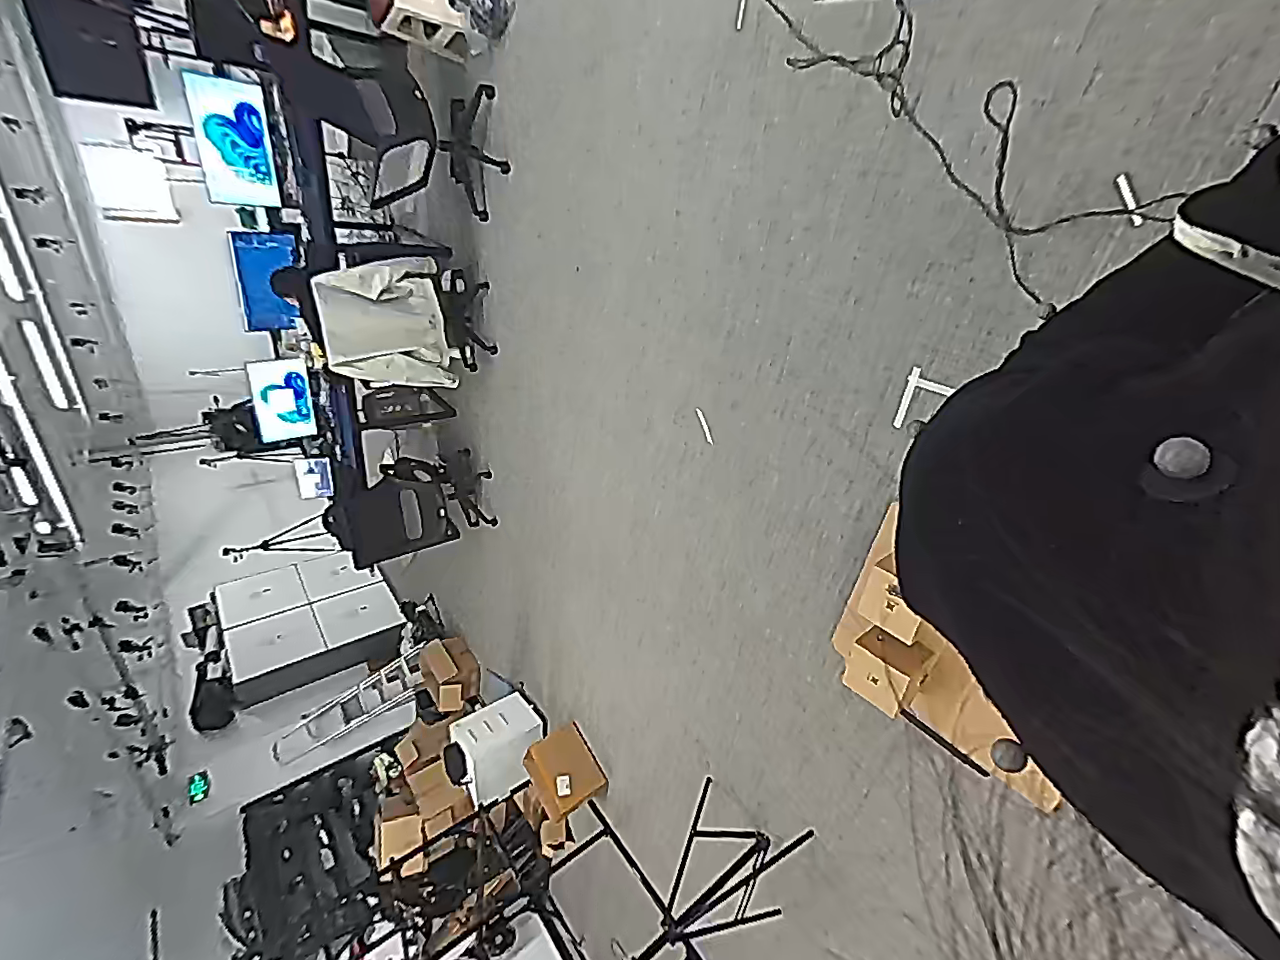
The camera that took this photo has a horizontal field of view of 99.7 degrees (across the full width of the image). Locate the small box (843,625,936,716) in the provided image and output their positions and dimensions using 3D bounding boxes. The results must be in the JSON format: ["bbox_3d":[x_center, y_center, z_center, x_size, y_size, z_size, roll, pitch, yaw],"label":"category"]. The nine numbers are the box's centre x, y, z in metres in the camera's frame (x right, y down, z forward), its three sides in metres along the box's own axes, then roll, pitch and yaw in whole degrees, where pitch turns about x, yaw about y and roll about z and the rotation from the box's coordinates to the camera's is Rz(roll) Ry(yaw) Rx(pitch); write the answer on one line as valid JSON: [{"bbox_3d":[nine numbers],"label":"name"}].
[{"bbox_3d":[0.744,0.555,1.616,0.179,0.176,0.168,30,126,42],"label":"small box"}]

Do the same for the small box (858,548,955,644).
[{"bbox_3d":[0.749,0.316,1.515,0.168,0.176,0.179,33,127,41],"label":"small box"}]
